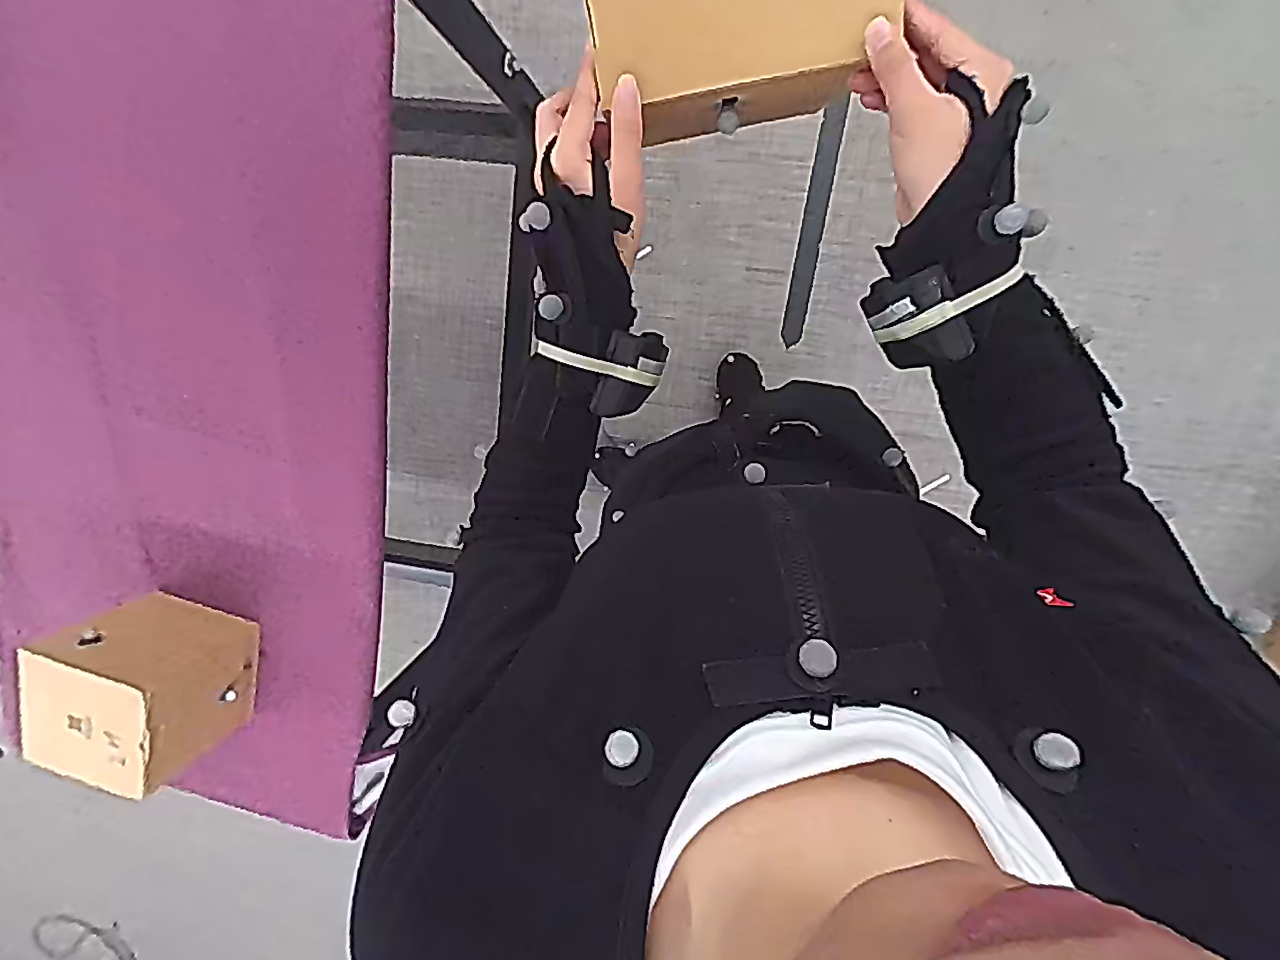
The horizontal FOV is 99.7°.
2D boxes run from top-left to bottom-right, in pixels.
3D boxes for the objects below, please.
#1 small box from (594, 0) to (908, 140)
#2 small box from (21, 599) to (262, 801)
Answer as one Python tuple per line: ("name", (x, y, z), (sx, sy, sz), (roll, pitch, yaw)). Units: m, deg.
("small box", (0.057, -0.343, 0.355), (0.179, 0.176, 0.168), (-8, 114, 6))
("small box", (-0.663, 0.282, 0.733), (0.179, 0.176, 0.168), (15, 104, 4))
